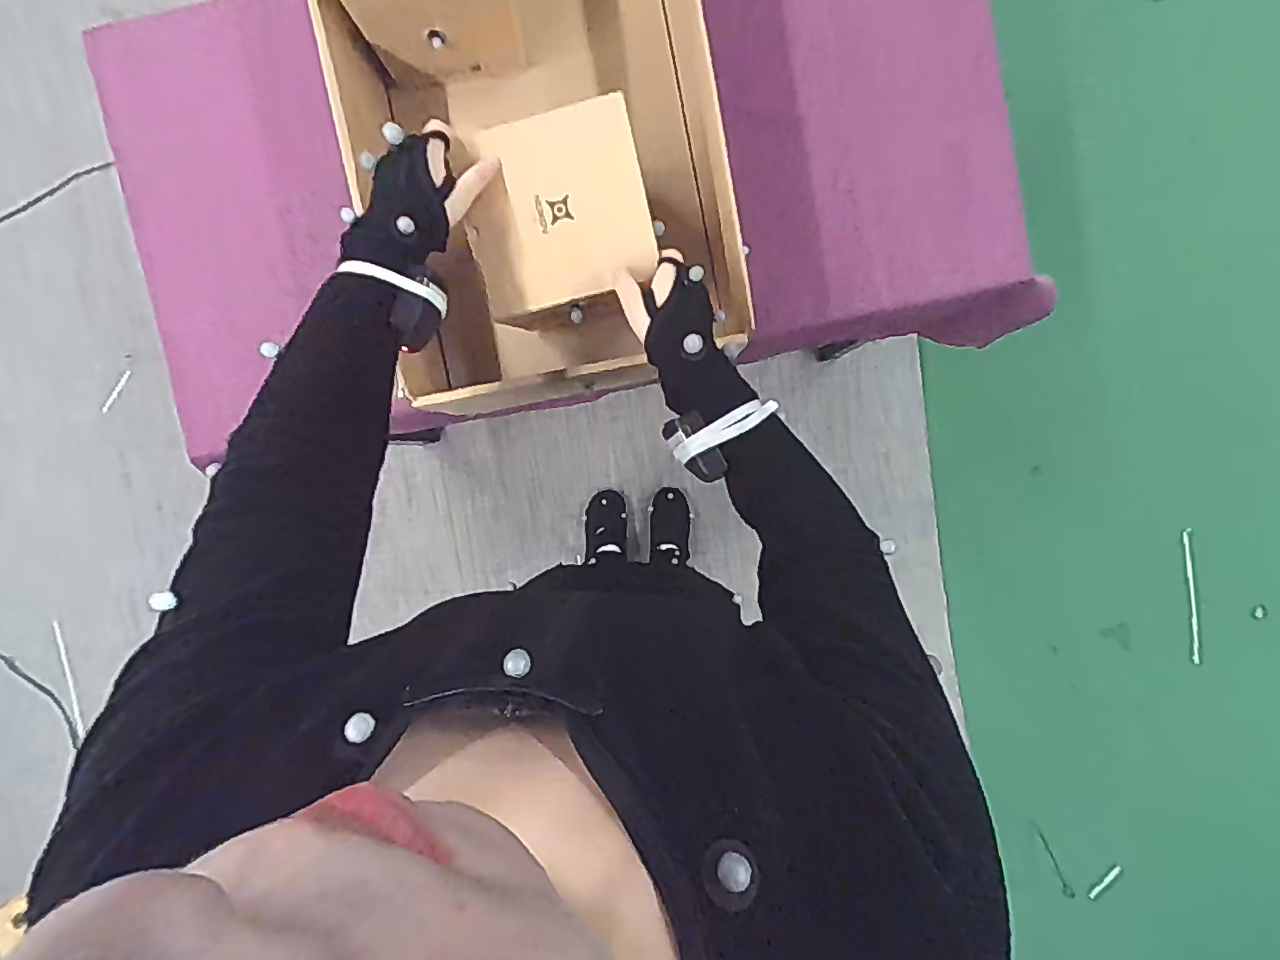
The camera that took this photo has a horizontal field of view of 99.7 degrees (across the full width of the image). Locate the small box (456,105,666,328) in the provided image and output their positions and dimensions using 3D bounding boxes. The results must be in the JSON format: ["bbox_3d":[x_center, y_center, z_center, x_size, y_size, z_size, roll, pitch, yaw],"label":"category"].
[{"bbox_3d":[-0.073,-0.274,0.606,0.179,0.176,0.168,-13,102,6],"label":"small box"}]
